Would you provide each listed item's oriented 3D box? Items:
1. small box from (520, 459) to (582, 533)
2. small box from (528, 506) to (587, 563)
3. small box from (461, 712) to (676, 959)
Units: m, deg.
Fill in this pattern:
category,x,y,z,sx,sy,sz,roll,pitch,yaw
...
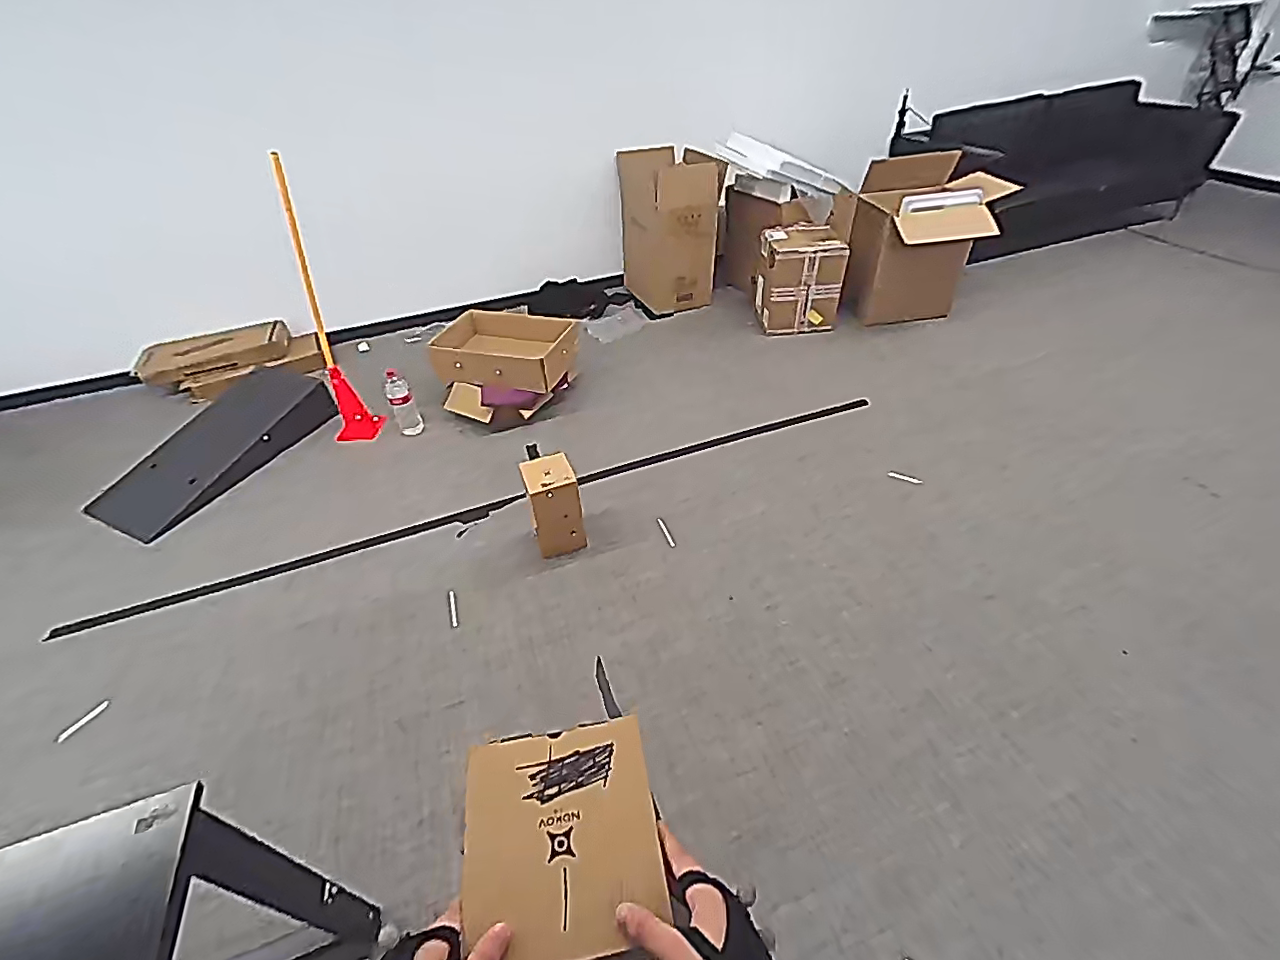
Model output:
category,x,y,z,sx,sy,sz,roll,pitch,yaw
small box,-0.311,0.055,1.903,0.168,0.176,0.179,-17,41,-14
small box,-0.304,0.179,2.011,0.179,0.176,0.168,-17,42,-12
small box,-0.067,0.357,0.523,0.168,0.176,0.179,-8,45,-7
